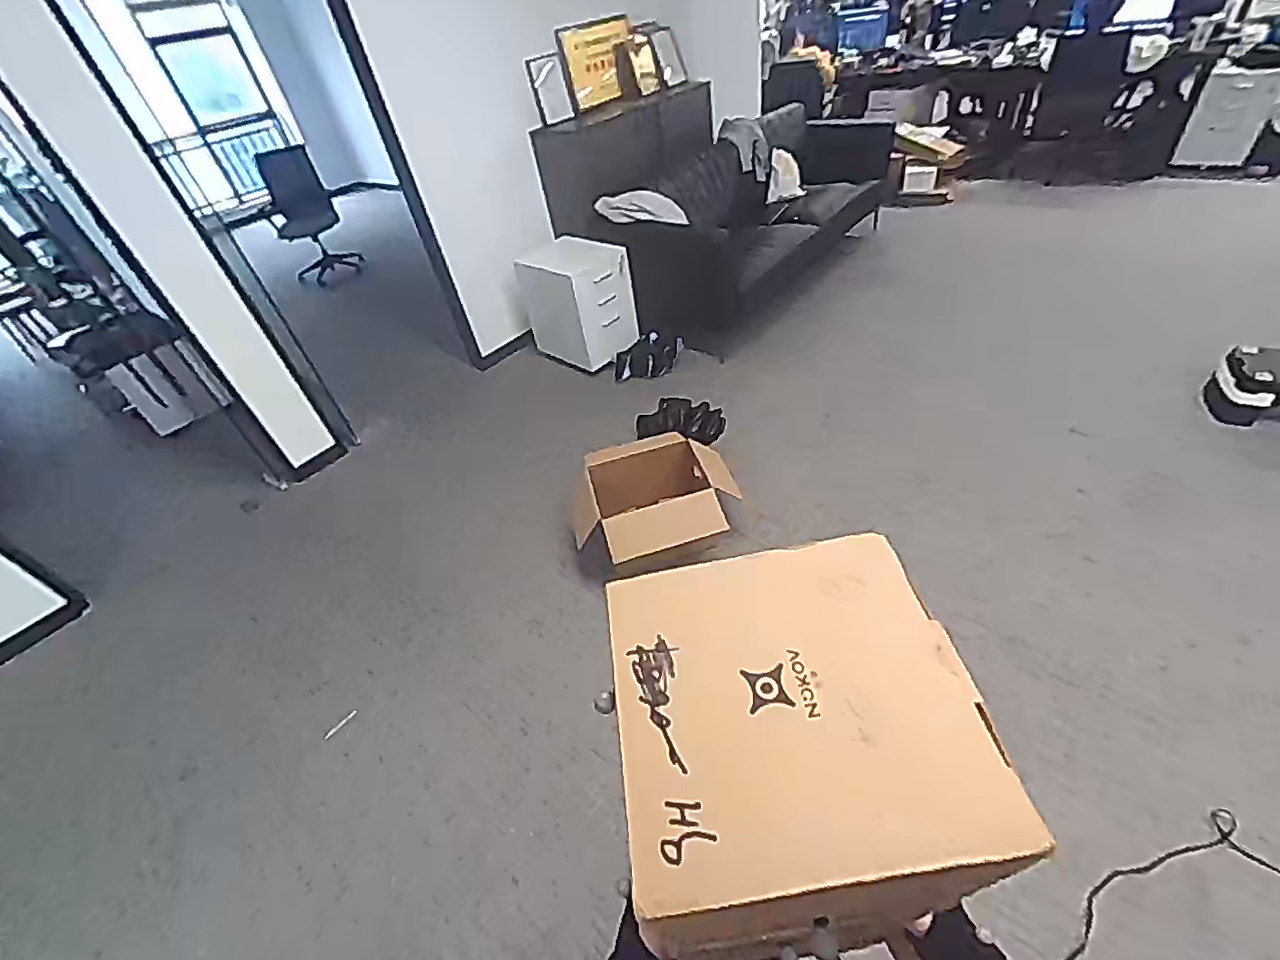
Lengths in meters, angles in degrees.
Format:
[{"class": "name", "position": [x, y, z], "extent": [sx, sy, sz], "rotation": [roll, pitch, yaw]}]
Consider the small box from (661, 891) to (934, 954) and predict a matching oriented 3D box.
[{"class": "small box", "position": [0.101, 0.267, 0.445], "extent": [0.179, 0.176, 0.168], "rotation": [-9, 46, 0]}]

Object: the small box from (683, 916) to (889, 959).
[{"class": "small box", "position": [0.126, 0.381, 0.560], "extent": [0.179, 0.176, 0.168], "rotation": [-11, 44, 2]}]

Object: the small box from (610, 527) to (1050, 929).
[{"class": "small box", "position": [0.082, 0.153, 0.329], "extent": [0.179, 0.176, 0.168], "rotation": [-9, 45, 1]}]
